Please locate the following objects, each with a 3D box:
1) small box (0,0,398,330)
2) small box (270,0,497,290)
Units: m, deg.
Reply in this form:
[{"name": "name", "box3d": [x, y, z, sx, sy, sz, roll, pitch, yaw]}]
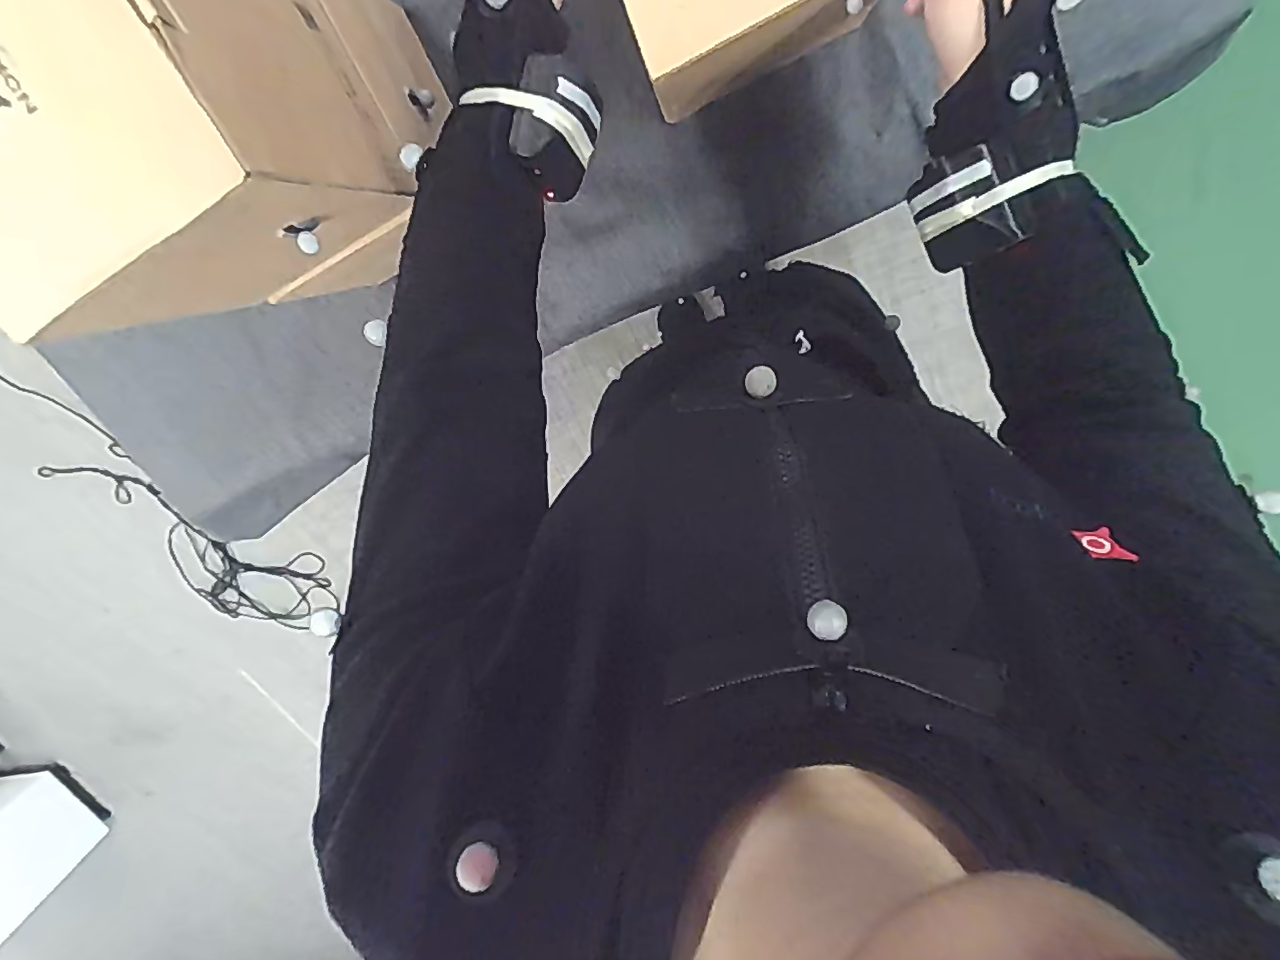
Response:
[{"name": "small box", "box3d": [-0.271, -0.209, 0.306, 0.179, 0.176, 0.168, -22, 110, 16]}, {"name": "small box", "box3d": [-0.250, -0.281, 0.451, 0.168, 0.176, 0.179, -21, 112, 15]}]
